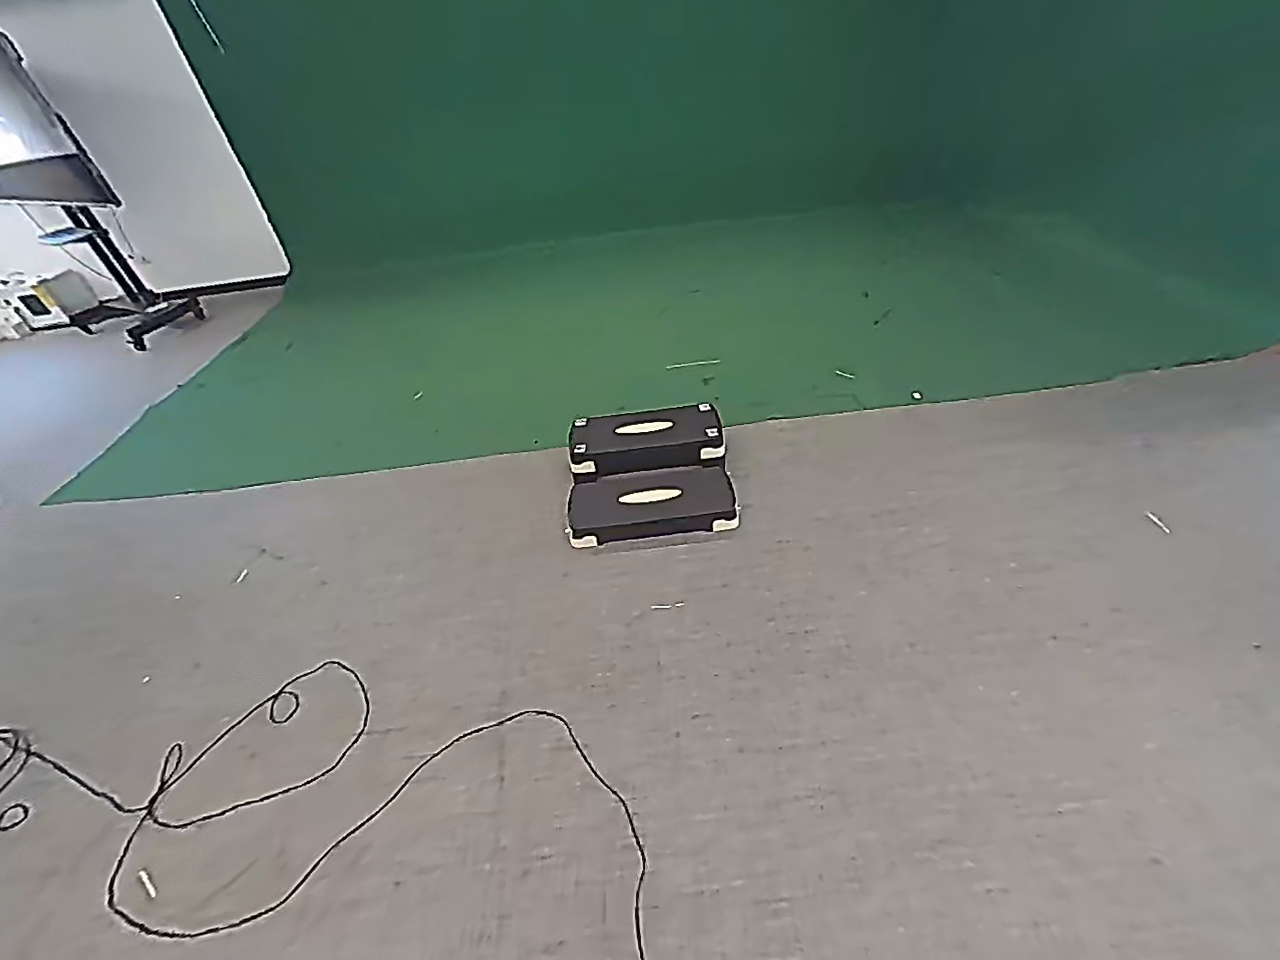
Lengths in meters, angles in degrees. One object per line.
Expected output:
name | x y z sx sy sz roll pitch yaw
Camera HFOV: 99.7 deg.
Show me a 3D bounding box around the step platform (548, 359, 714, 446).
step platform | -0.033 -0.330 2.289 0.684 0.204 0.286 -8 41 2
